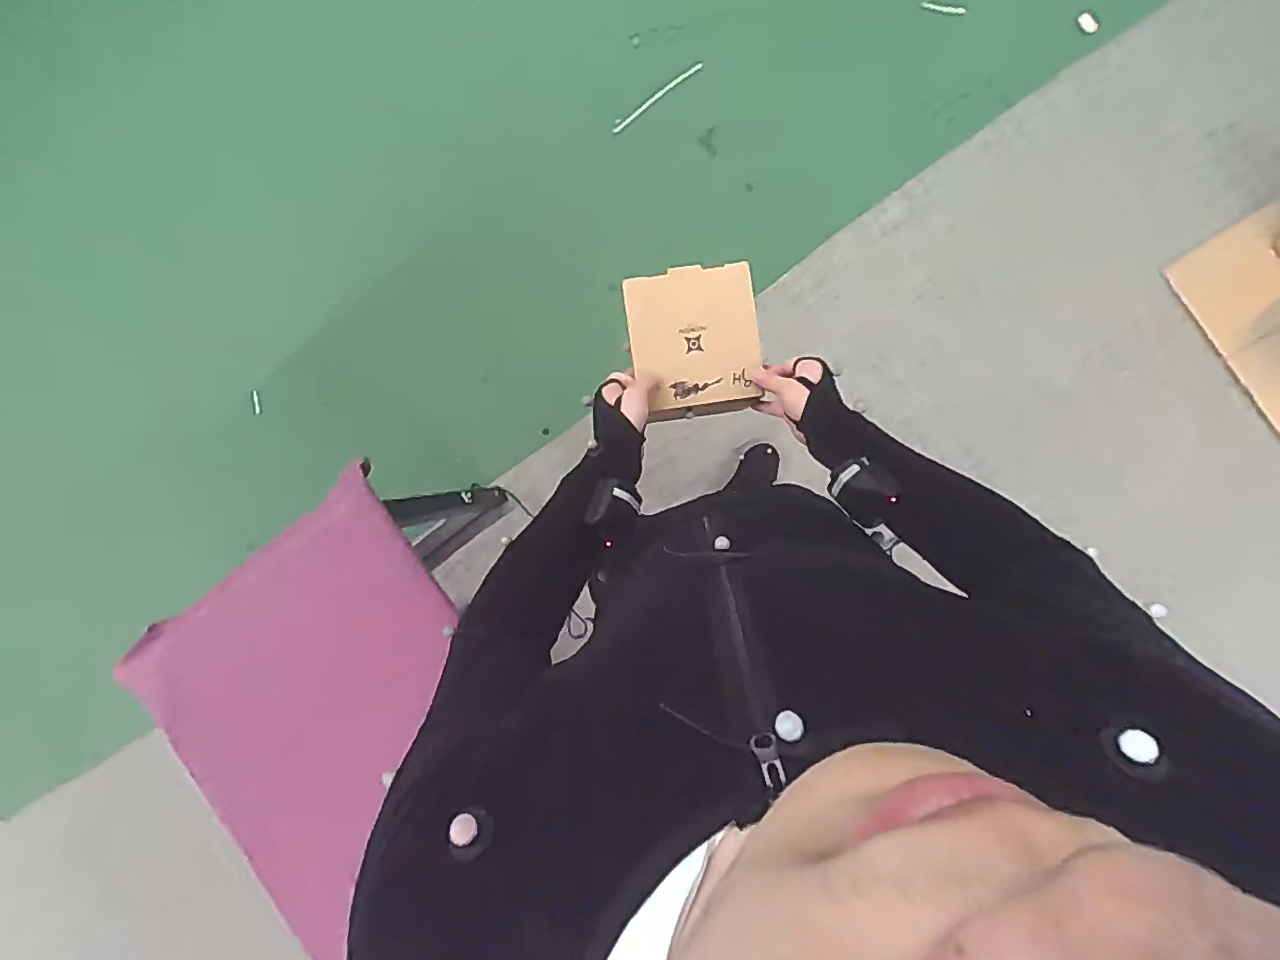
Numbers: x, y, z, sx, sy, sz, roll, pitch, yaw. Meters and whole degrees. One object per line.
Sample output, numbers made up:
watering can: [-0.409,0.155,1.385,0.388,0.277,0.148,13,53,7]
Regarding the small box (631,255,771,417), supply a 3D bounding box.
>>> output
small box: [0.079,-0.191,0.763,0.168,0.176,0.179,-7,92,3]
